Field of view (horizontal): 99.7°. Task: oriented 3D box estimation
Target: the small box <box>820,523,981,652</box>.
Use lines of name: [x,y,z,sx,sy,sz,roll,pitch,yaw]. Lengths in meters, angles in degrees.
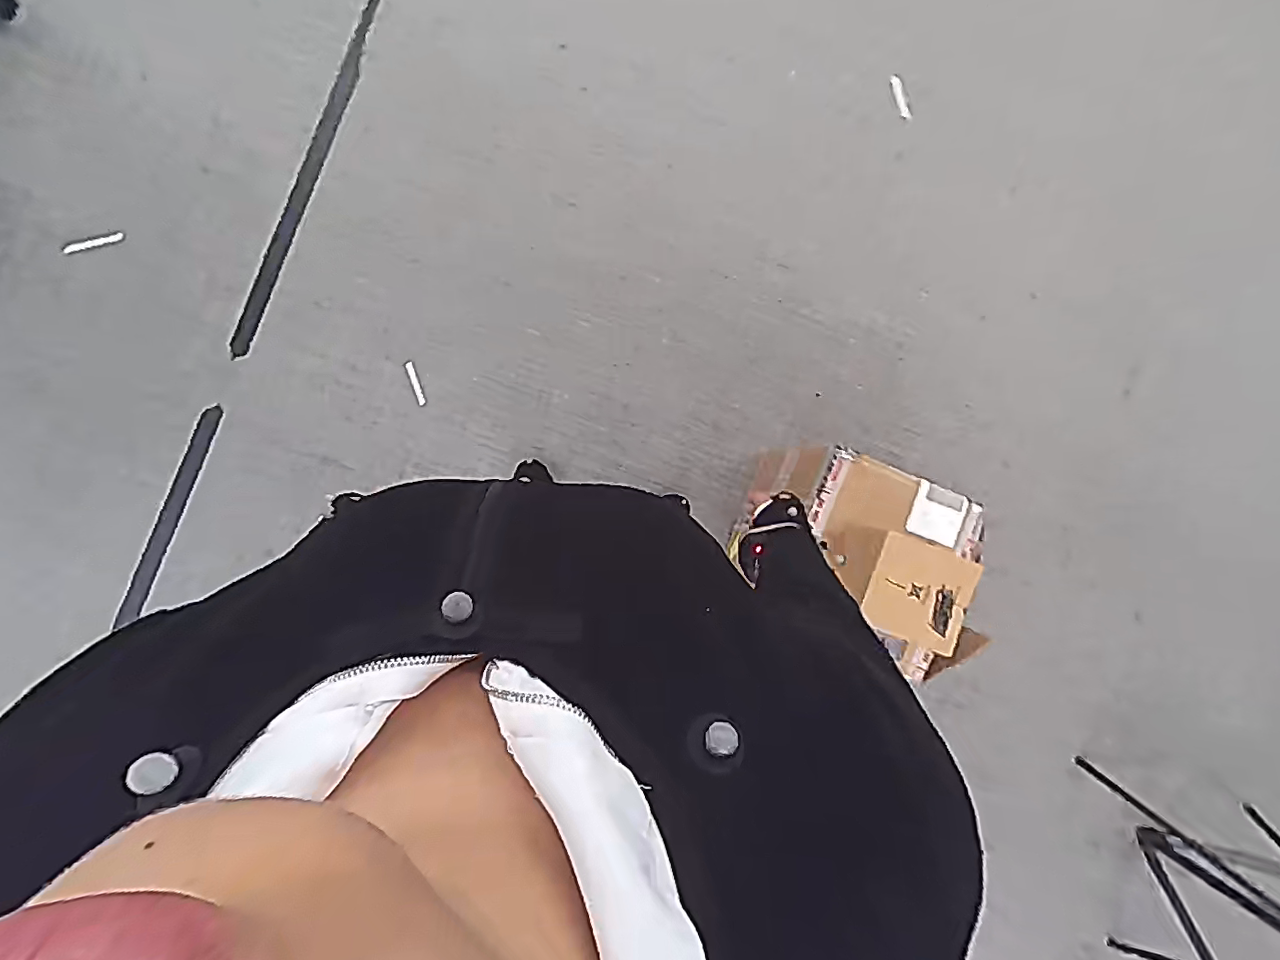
small box: [0.460,0.183,0.980,0.179,0.176,0.168,21,89,-2]
